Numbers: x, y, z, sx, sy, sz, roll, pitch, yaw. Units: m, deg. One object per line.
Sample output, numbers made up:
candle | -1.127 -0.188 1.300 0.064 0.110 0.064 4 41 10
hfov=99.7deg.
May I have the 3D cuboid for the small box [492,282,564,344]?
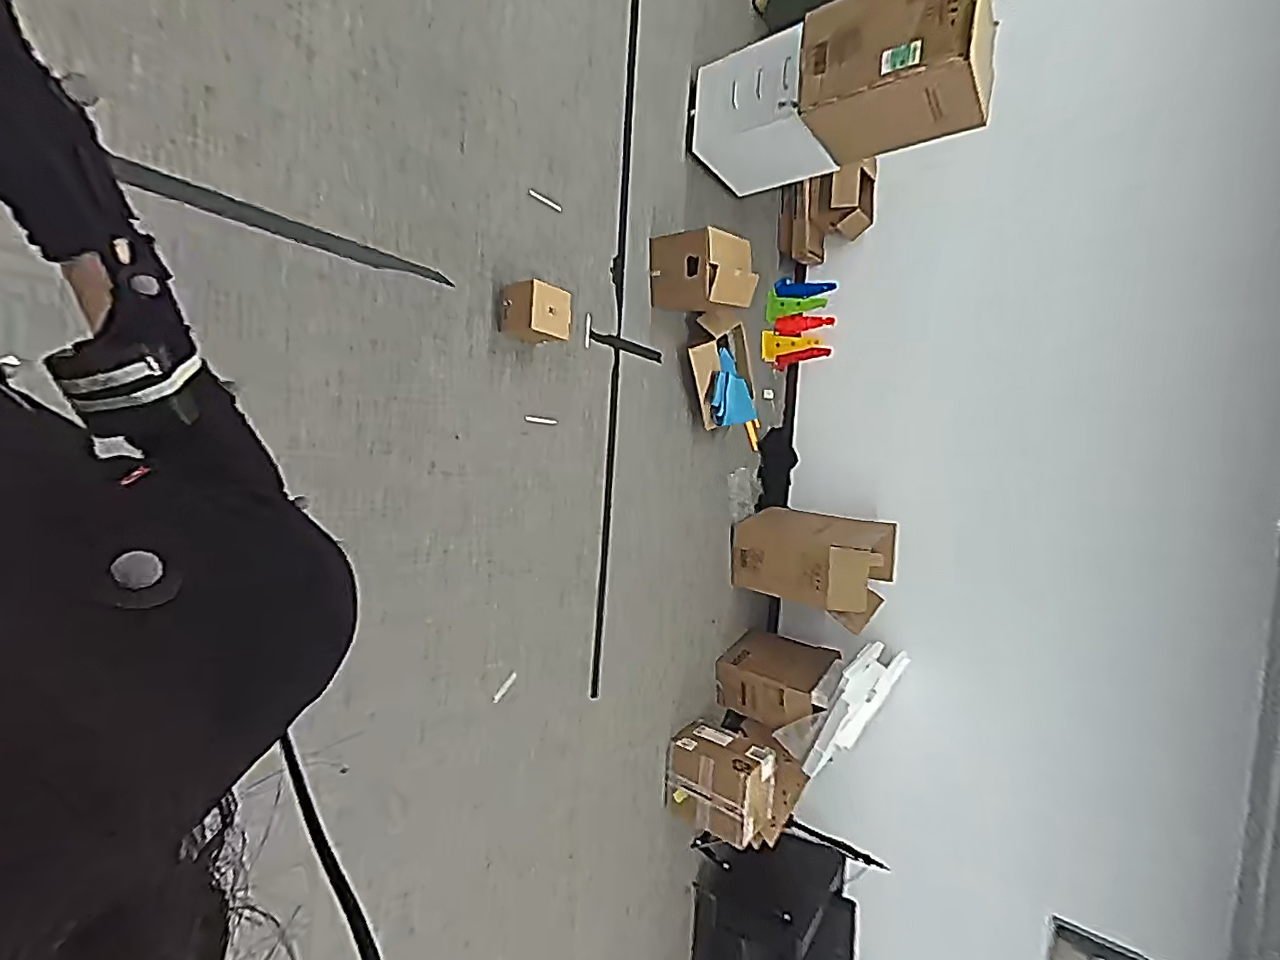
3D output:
small box | -0.388 -0.573 1.880 0.179 0.176 0.168 1 93 -53
